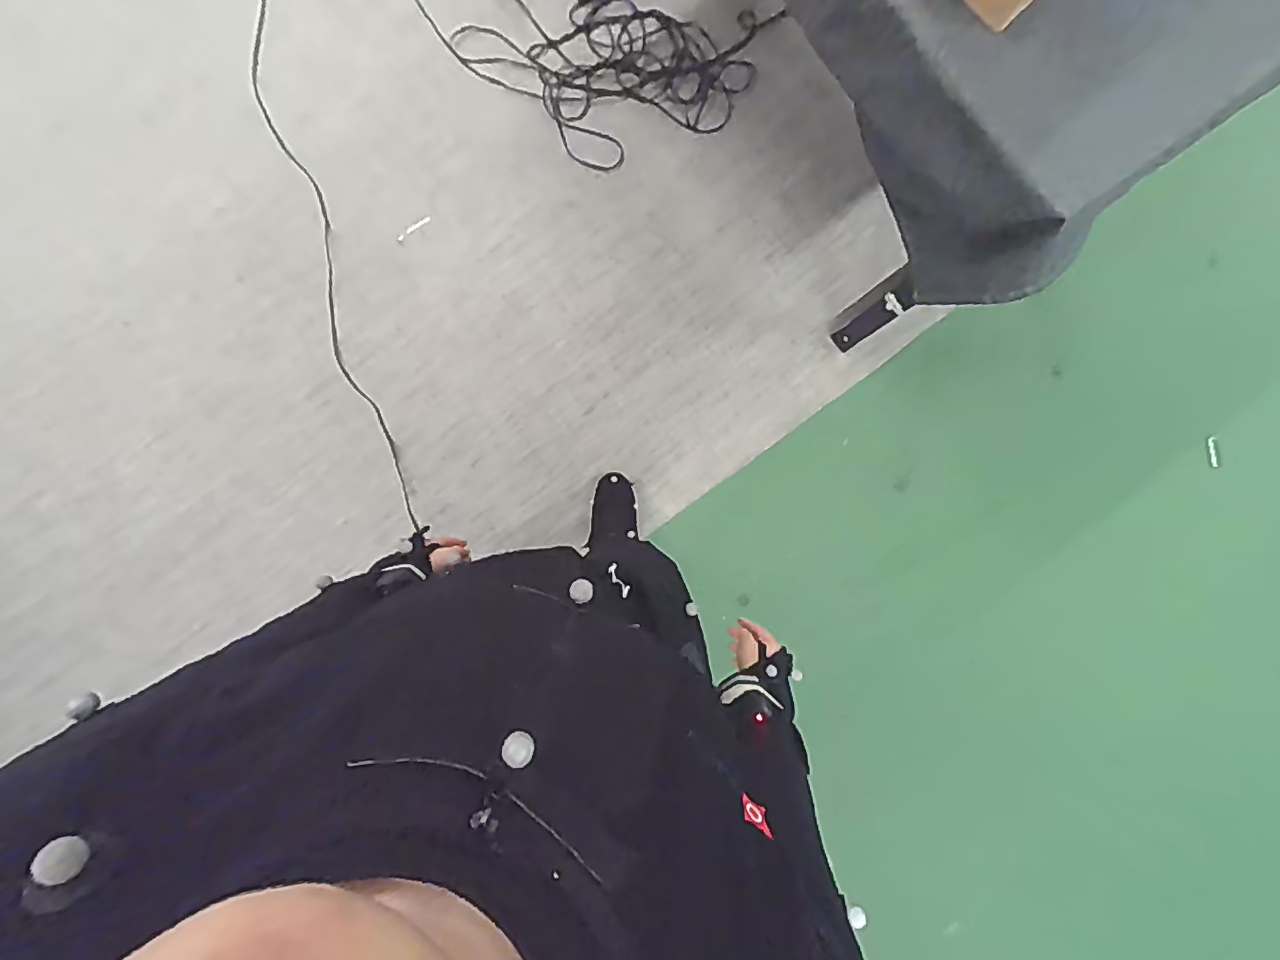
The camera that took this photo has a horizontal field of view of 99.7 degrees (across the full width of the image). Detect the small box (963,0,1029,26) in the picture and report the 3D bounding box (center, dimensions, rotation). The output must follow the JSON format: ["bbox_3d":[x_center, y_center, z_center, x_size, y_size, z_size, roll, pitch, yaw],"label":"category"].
[{"bbox_3d":[0.434,-0.658,0.572,0.179,0.176,0.168,-44,89,0],"label":"small box"}]
